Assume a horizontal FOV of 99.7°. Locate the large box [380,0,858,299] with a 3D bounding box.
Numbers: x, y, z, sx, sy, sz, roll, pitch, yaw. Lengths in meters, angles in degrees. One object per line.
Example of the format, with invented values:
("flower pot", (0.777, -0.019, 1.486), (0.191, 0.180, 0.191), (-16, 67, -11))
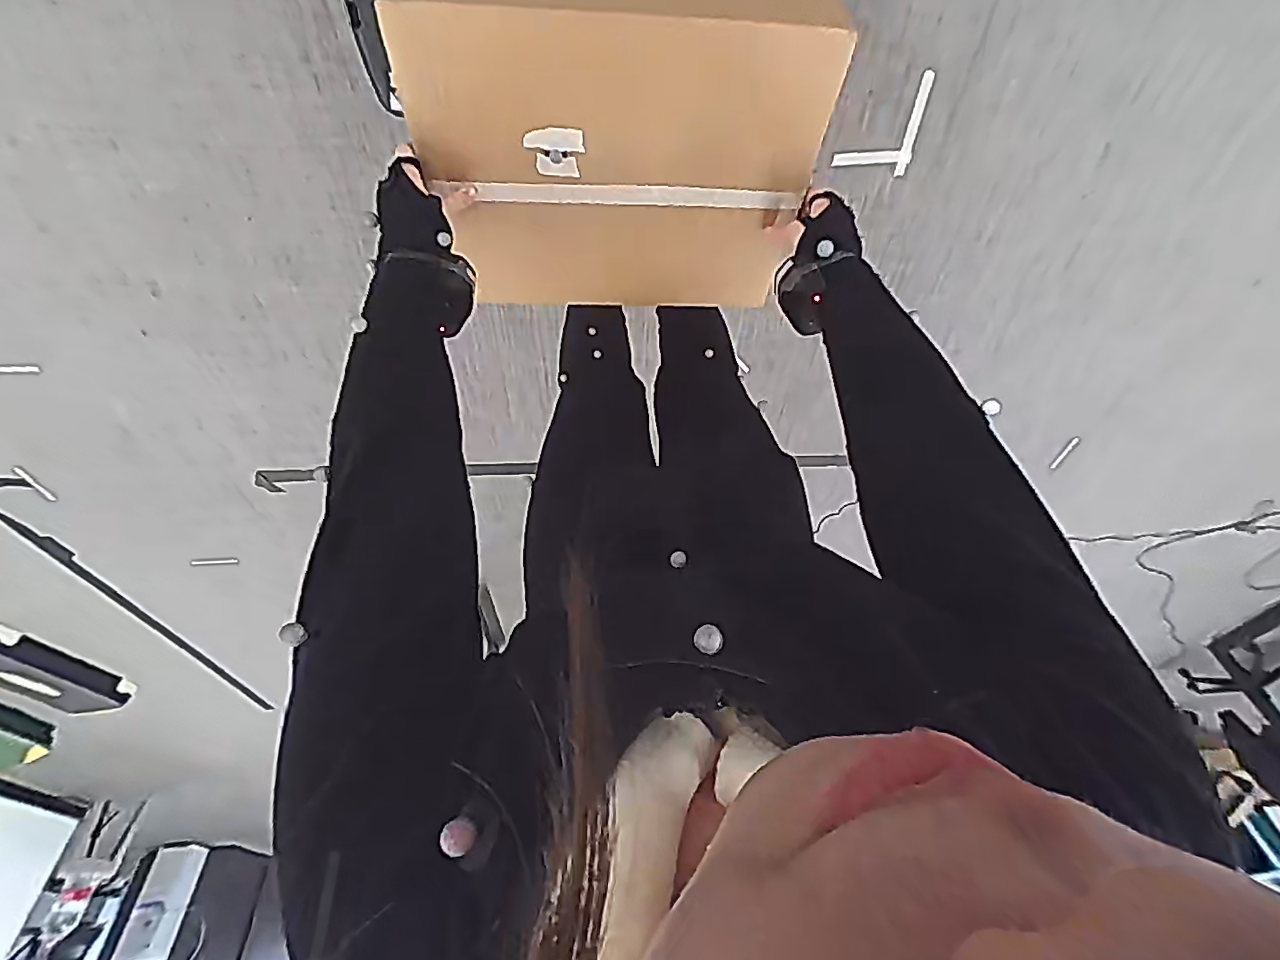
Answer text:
("large box", (-0.024, -0.442, 0.642), (0.408, 0.320, 0.320), (0, 149, -4))
